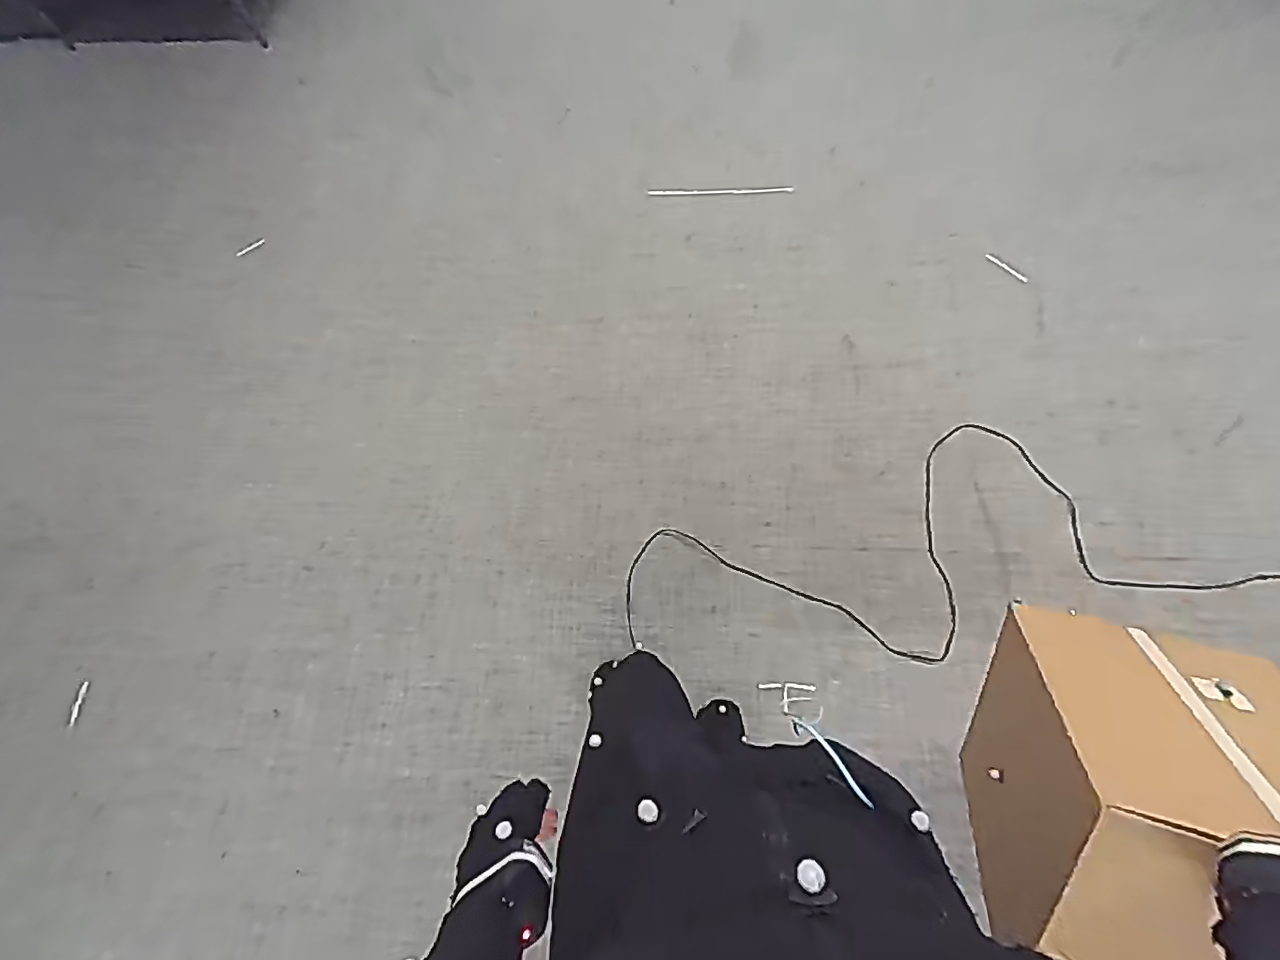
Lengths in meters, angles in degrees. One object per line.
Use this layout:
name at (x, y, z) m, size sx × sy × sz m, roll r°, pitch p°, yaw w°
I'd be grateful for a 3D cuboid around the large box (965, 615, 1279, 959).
large box at (0.643, 0.433, 0.678) m, size 0.320 × 0.408 × 0.320 m, roll 12°, pitch 109°, yaw 20°
